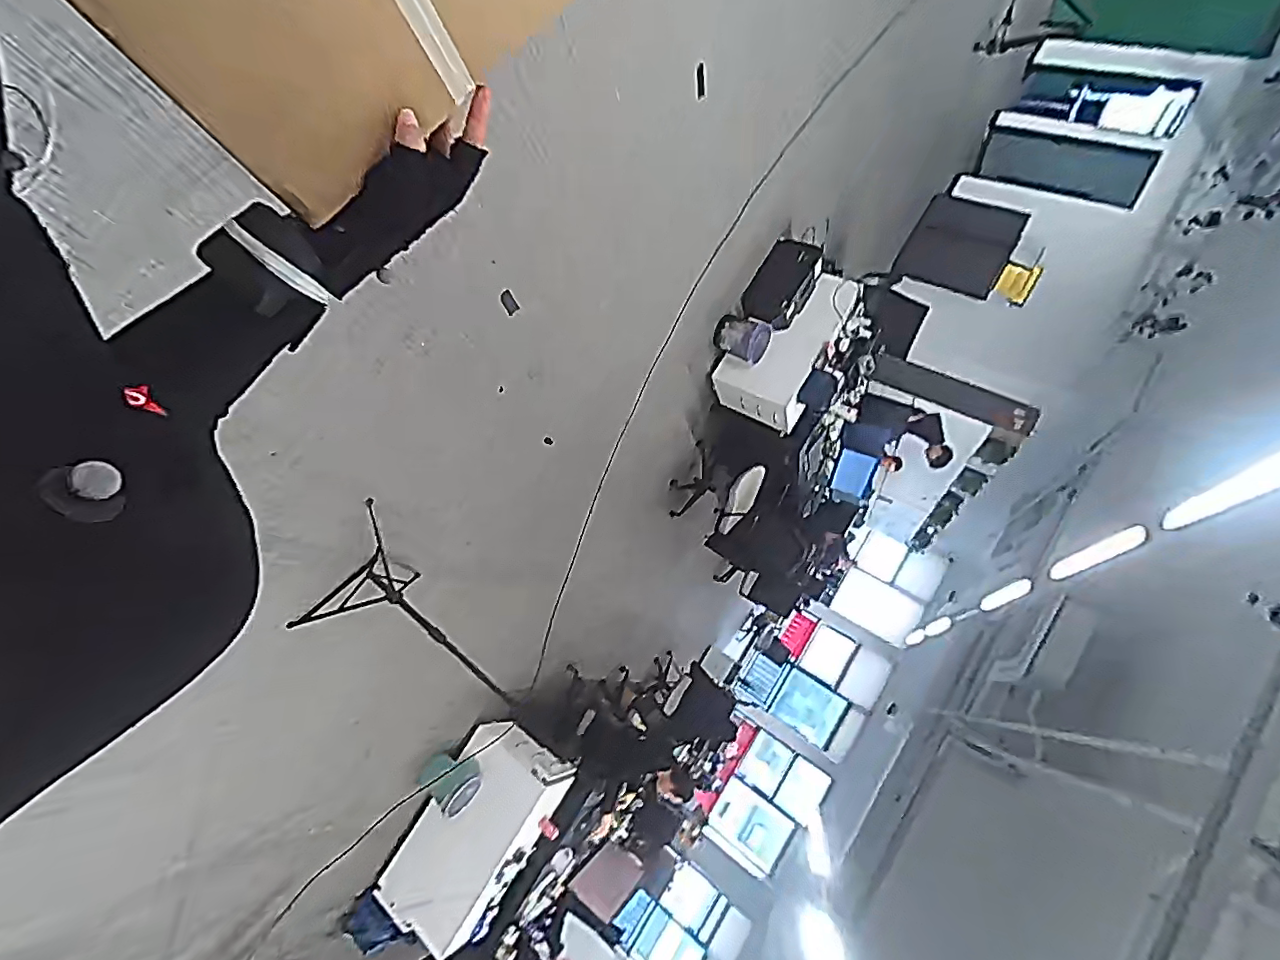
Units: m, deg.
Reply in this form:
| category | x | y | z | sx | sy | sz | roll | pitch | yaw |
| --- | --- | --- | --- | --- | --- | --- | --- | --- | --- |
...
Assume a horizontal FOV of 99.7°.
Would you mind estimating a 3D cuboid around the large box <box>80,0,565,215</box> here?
| category | x | y | z | sx | sy | sz | roll | pitch | yaw |
| --- | --- | --- | --- | --- | --- | --- | --- | --- | --- |
| large box | -0.292 | -0.469 | 0.313 | 0.320 | 0.320 | 0.408 | -43 | 155 | -3 |
